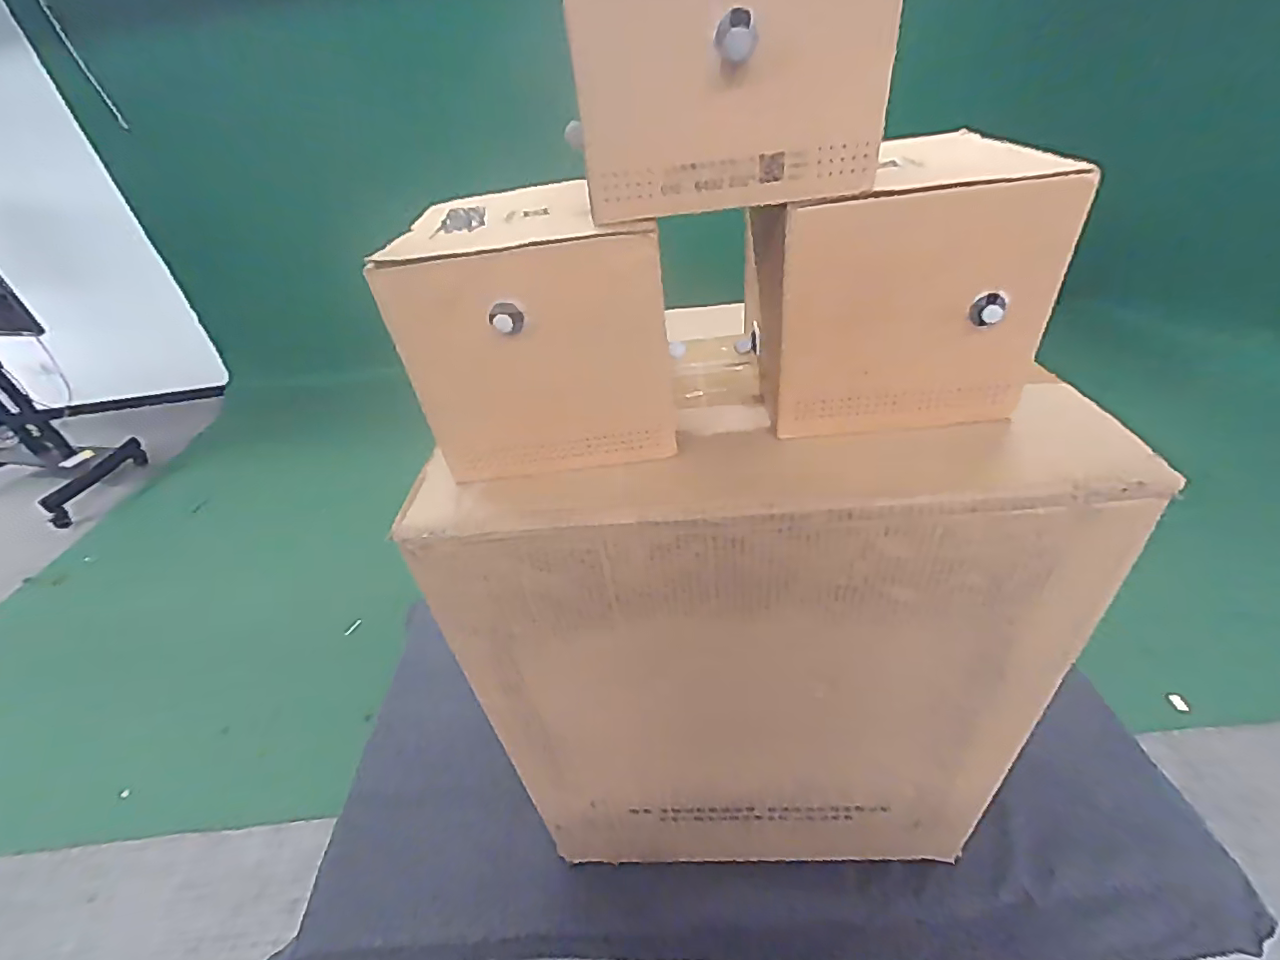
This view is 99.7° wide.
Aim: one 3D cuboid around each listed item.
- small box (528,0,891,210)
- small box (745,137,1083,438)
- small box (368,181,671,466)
[{"bbox_3d":[0.042,-0.286,0.344,0.179,0.176,0.168,-26,41,-20],"label":"small box"},{"bbox_3d":[0.180,-0.150,0.426,0.179,0.176,0.168,-6,38,5],"label":"small box"},{"bbox_3d":[-0.071,-0.124,0.436,0.179,0.176,0.168,-4,41,6],"label":"small box"}]
